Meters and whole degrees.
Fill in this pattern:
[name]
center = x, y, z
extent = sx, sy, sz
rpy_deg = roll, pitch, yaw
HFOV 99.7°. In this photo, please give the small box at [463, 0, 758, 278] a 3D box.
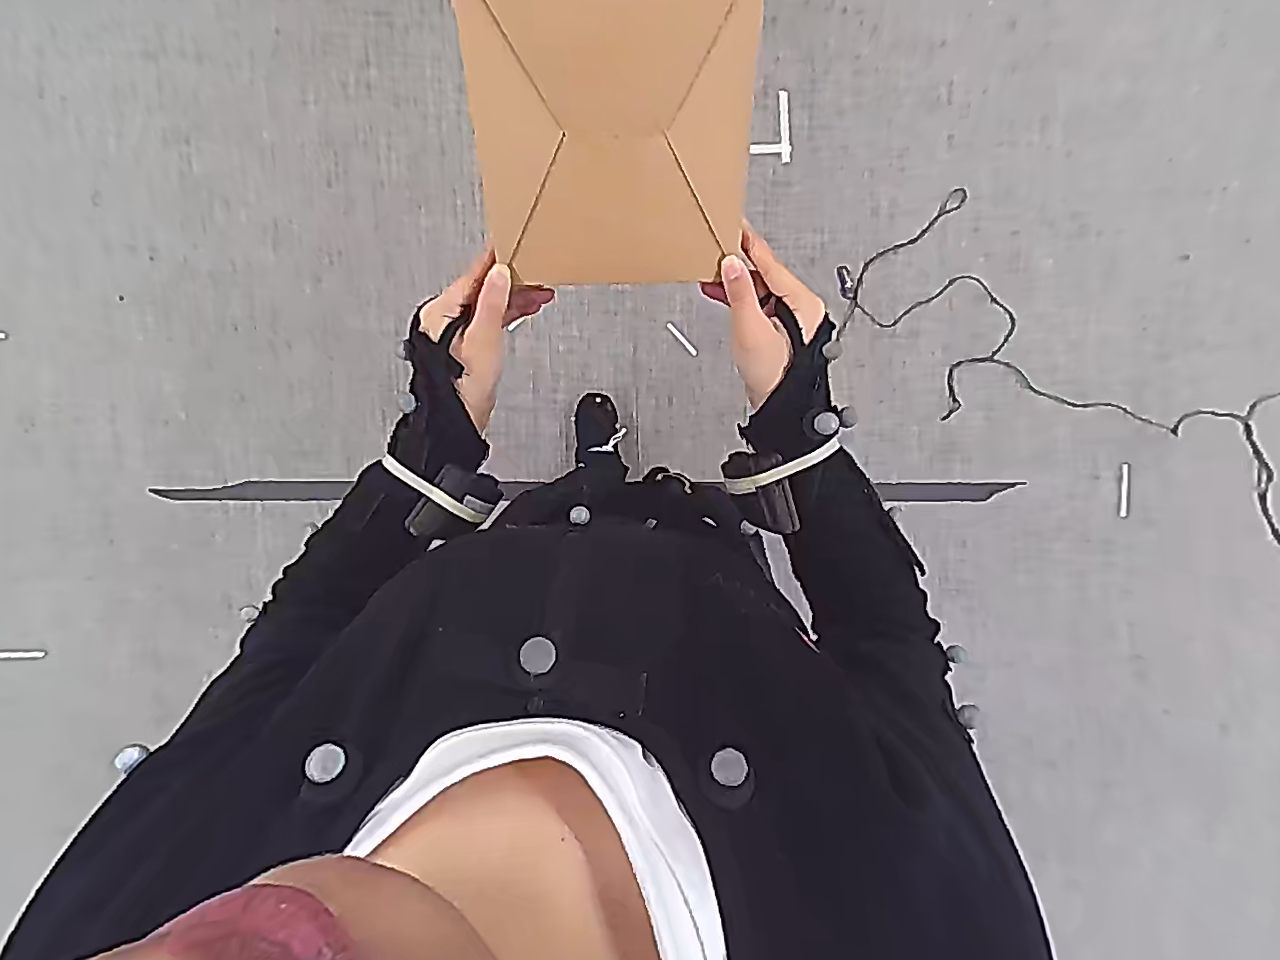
[small box]
center = -0.018, -0.257, 0.395
extent = 0.168, 0.176, 0.179
rpy_deg = -2, 127, -2
